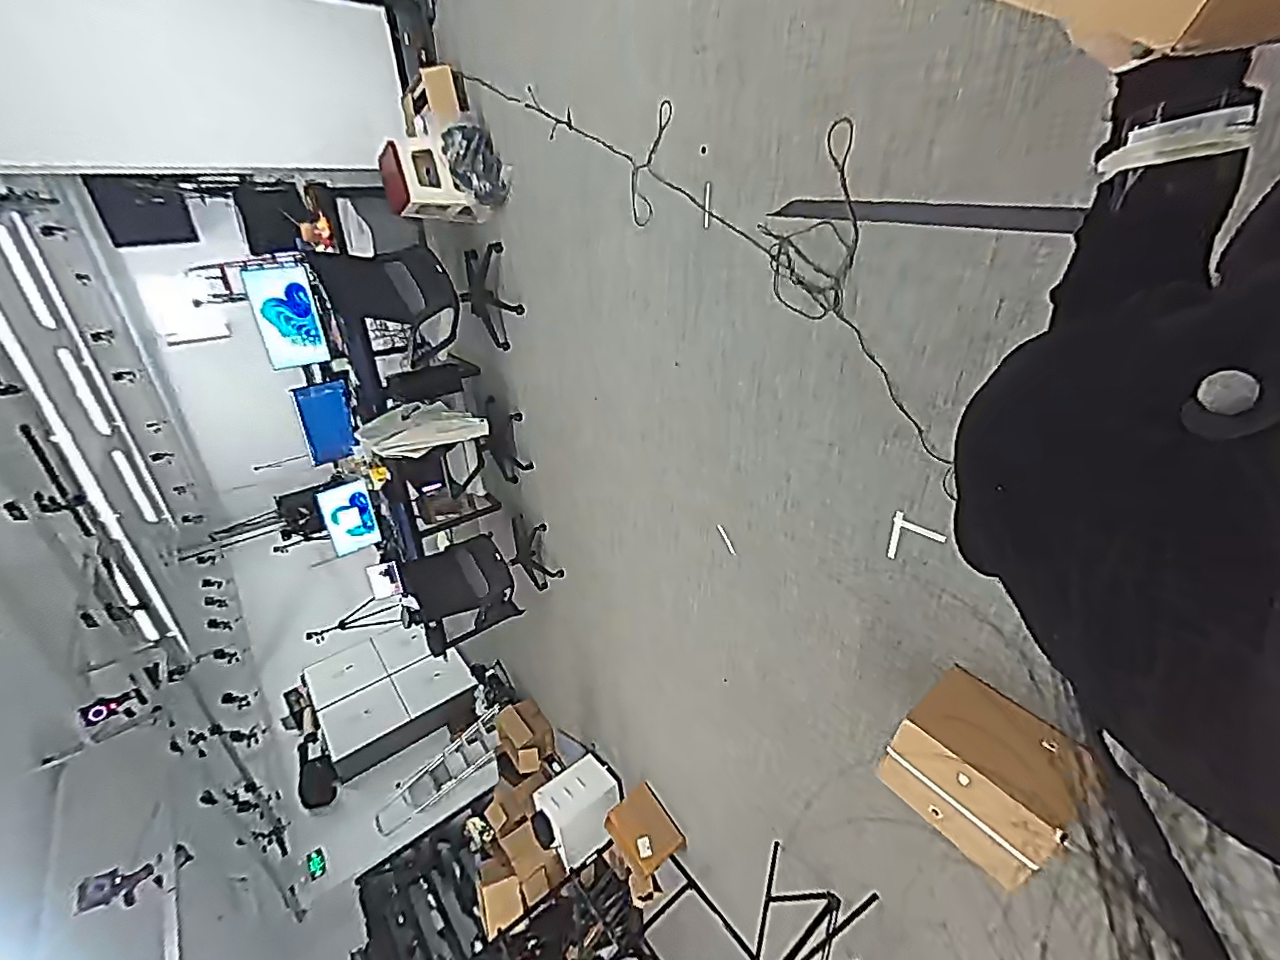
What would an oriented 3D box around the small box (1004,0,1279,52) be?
[{"bbox_3d":[0.261,-0.322,0.240,0.179,0.176,0.168,54,154,30],"label":"small box"}]
